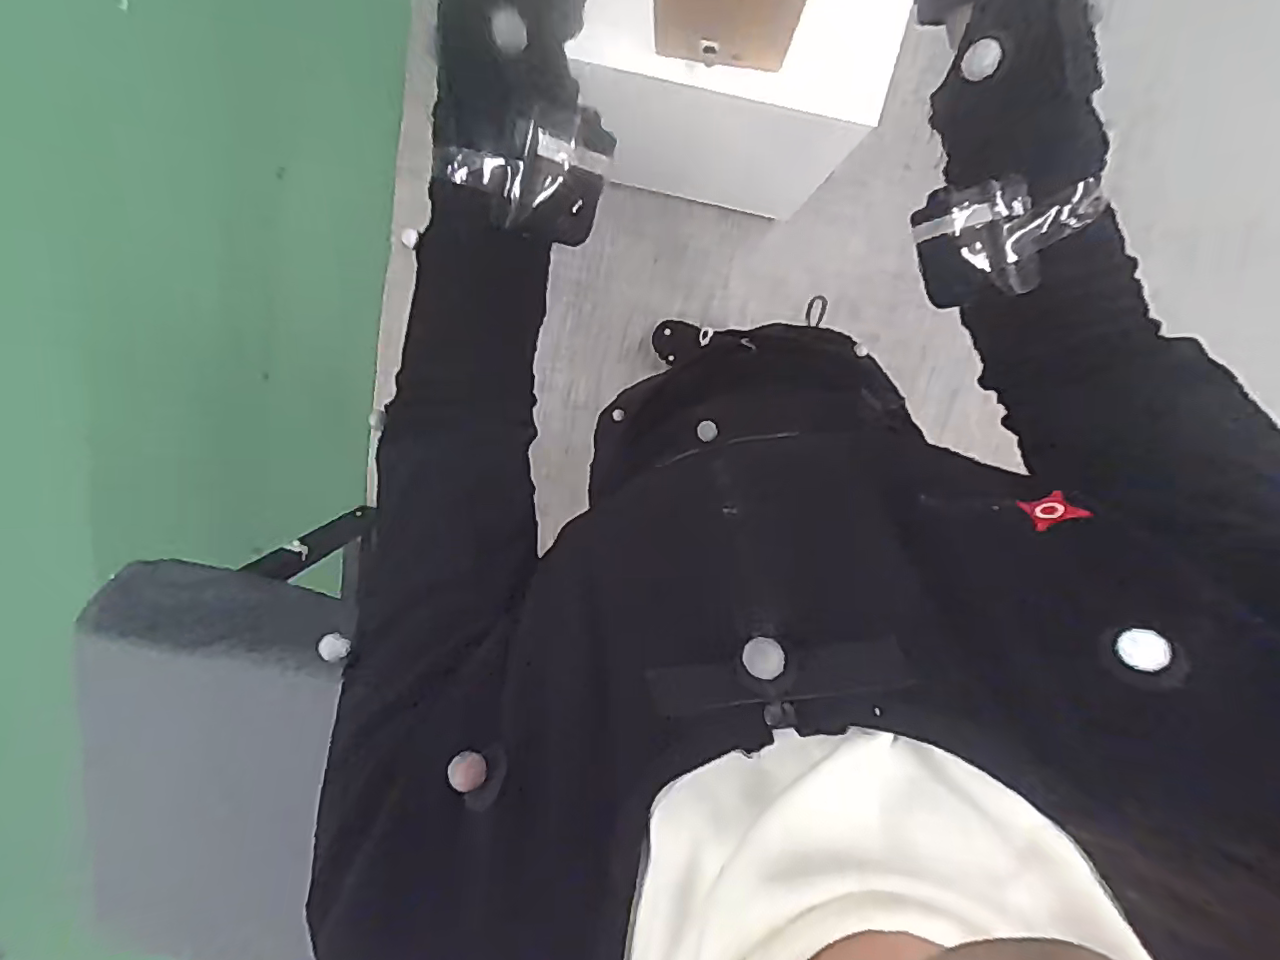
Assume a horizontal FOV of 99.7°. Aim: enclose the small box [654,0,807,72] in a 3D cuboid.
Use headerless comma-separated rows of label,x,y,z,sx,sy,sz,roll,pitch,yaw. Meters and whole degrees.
small box,0.106,-0.596,0.594,0.168,0.176,0.179,9,105,3
